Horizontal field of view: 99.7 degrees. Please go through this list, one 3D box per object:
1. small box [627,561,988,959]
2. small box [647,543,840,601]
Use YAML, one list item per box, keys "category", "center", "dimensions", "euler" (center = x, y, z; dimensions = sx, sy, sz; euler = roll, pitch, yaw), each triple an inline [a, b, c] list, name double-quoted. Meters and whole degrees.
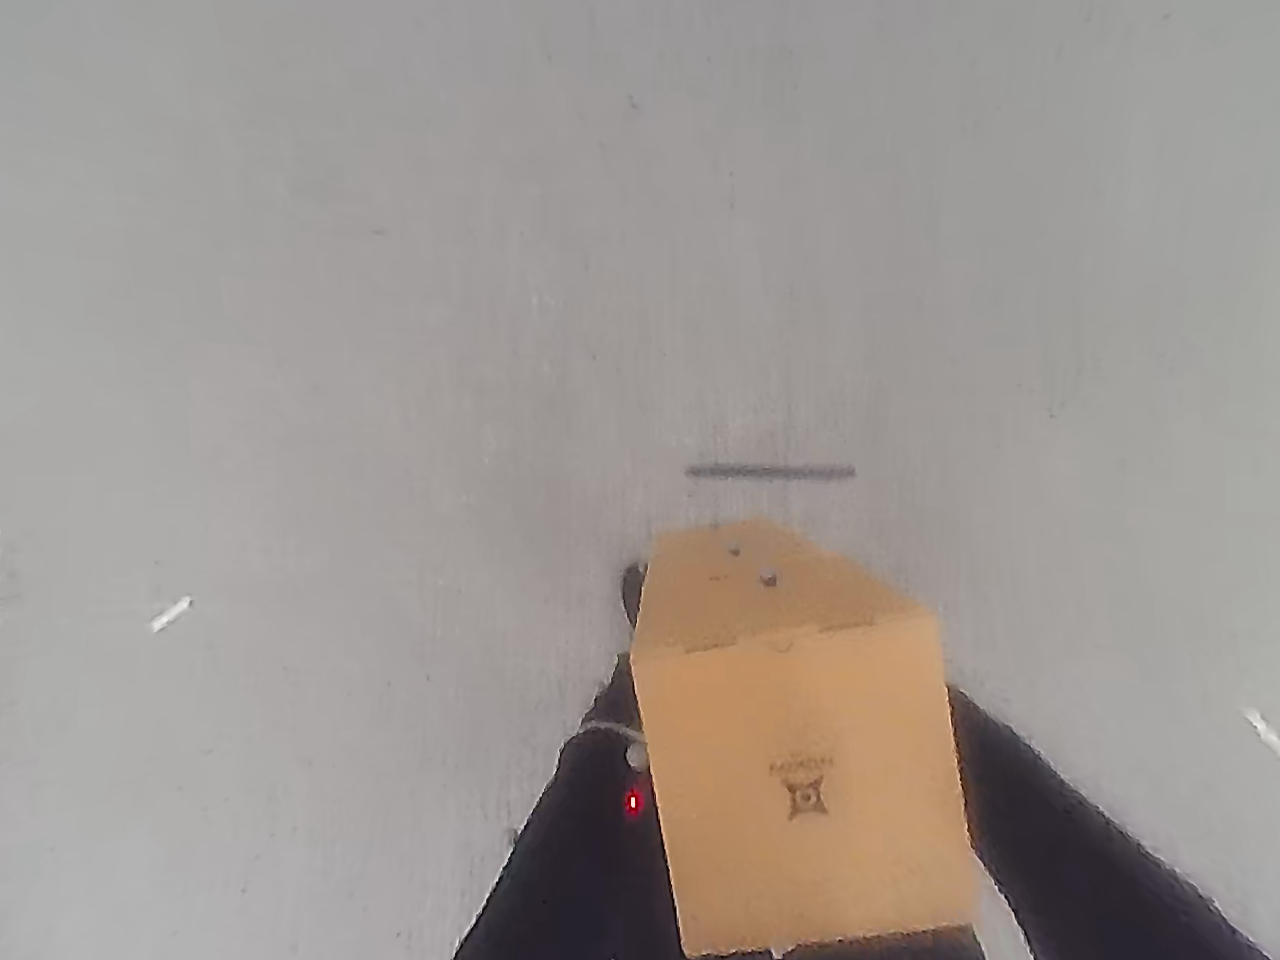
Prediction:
- category: "small box"
  center: [0.093, 0.167, 0.366]
  dimensions: [0.168, 0.176, 0.179]
  euler: [-11, 92, 4]
- category: "small box"
  center: [0.102, 0.164, 0.528]
  dimensions: [0.168, 0.176, 0.179]
  euler: [-11, 93, 4]
